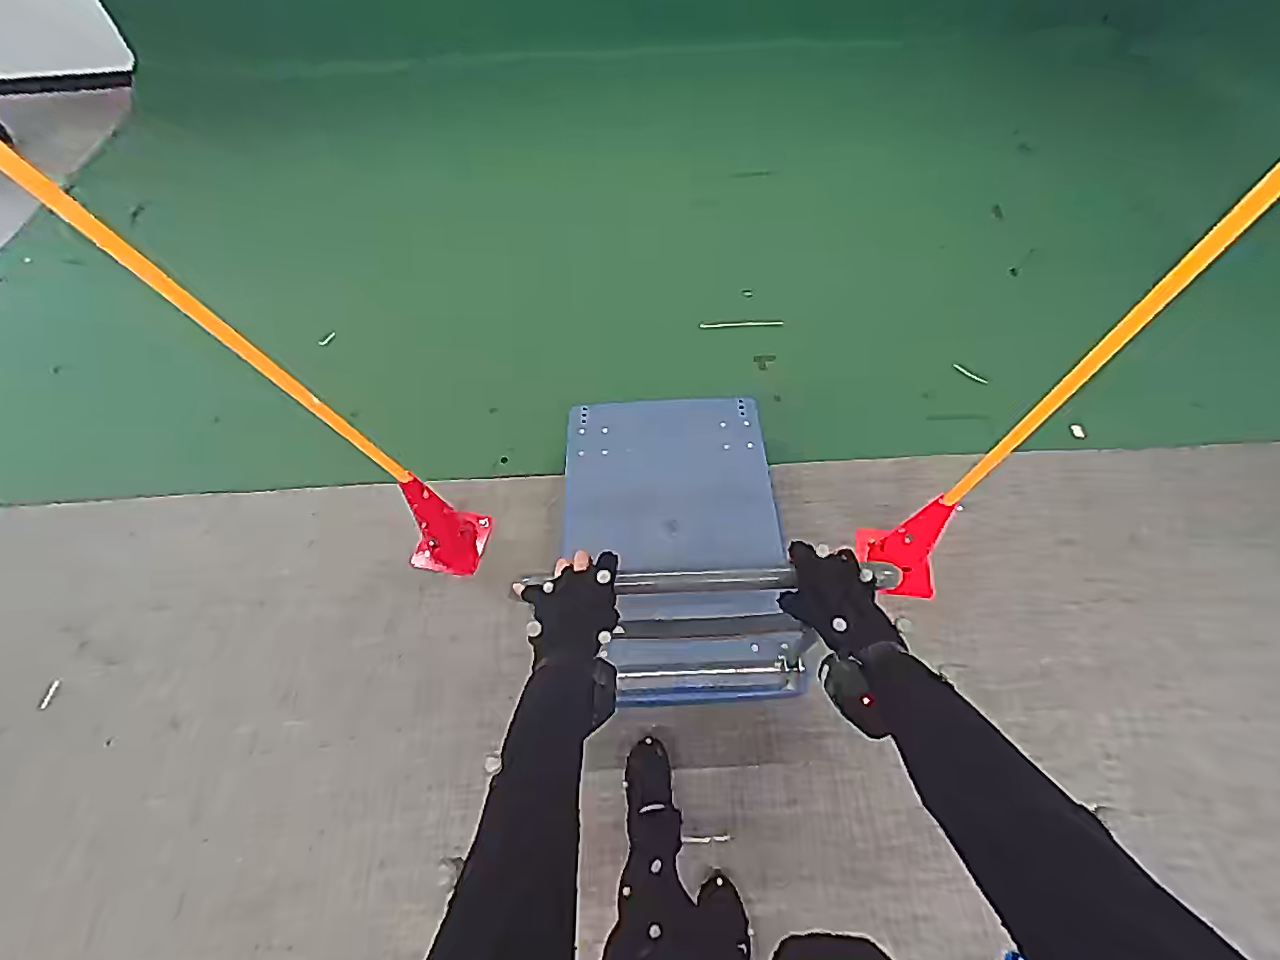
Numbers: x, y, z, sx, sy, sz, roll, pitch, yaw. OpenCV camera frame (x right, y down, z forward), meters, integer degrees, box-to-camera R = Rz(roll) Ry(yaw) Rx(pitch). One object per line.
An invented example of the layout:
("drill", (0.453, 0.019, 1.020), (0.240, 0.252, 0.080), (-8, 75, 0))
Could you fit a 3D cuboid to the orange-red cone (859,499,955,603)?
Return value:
("orange-red cone", (0.721, 0.157, 1.398), (0.198, 0.360, 0.199), (6, 58, 7))
